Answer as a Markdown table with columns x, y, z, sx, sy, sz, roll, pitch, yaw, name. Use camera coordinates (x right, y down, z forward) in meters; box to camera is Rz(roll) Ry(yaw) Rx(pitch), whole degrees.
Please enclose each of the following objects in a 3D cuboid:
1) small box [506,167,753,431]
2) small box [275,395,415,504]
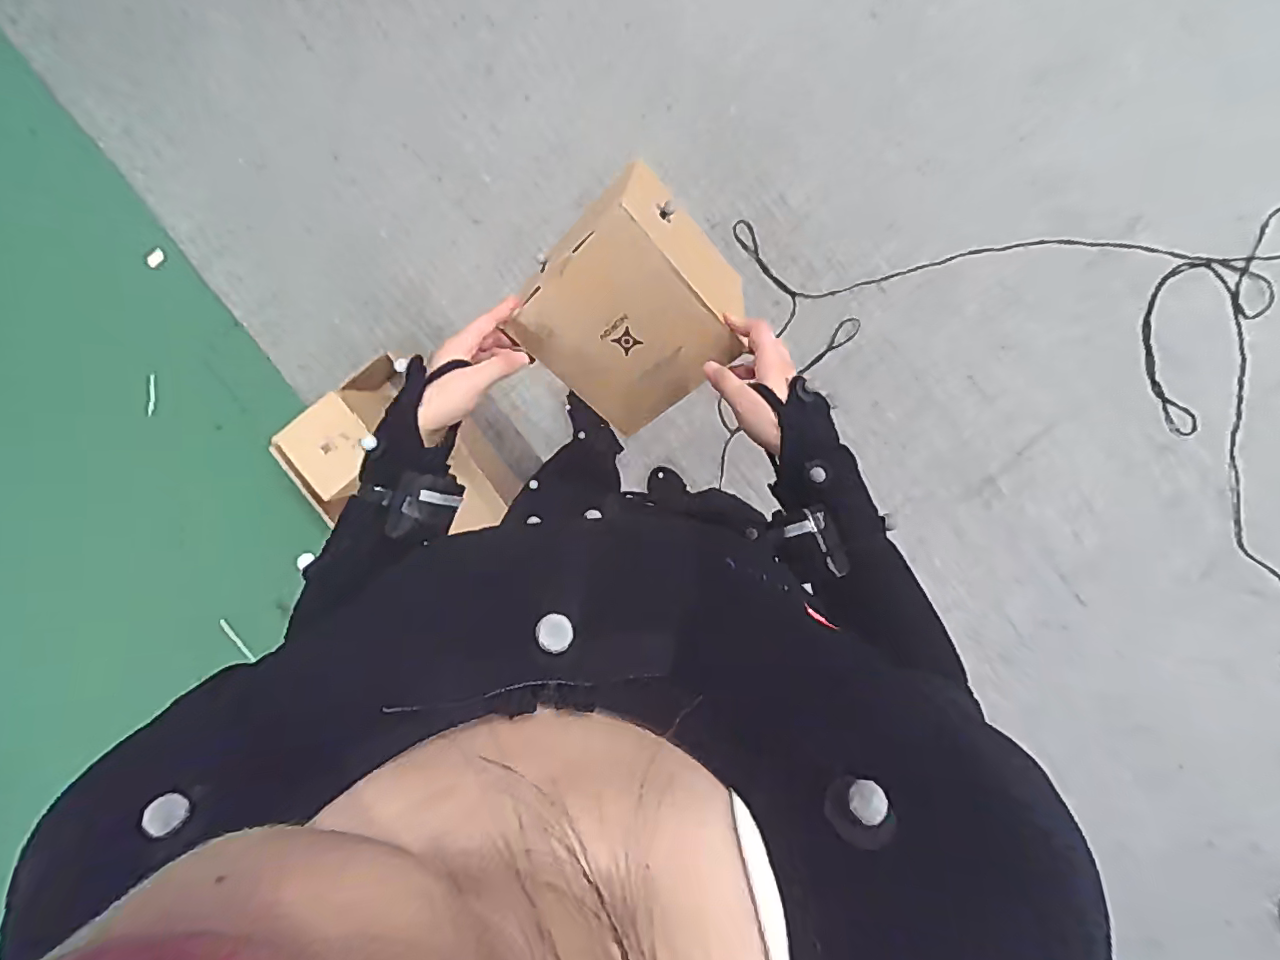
| x | y | z | sx | sy | sz | roll | pitch | yaw | name |
| --- | --- | --- | --- | --- | --- | --- | --- | --- | --- |
| -0.004 | -0.191 | 0.563 | 0.168 | 0.176 | 0.179 | -34 | 121 | 32 | small box |
| -0.641 | -0.071 | 1.200 | 0.179 | 0.176 | 0.168 | -37 | 95 | 6 | small box |
